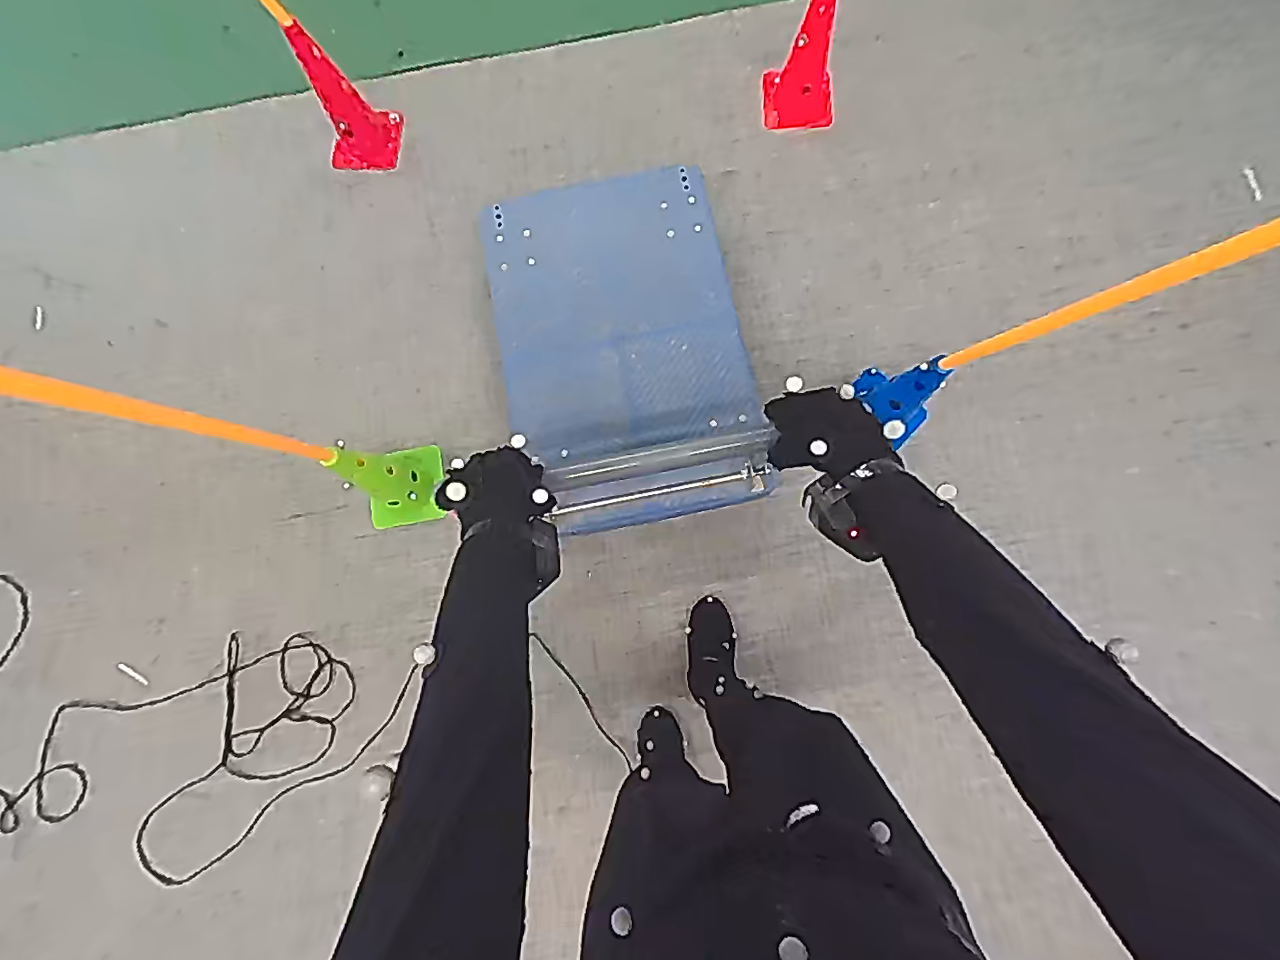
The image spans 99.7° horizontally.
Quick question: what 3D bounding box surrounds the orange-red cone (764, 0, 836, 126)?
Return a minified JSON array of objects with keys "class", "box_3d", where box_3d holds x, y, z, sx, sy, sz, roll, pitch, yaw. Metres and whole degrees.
[{"class":"orange-red cone","box_3d":[0.453,-1.151,1.414,0.198,0.360,0.199,1,81,4]}]
